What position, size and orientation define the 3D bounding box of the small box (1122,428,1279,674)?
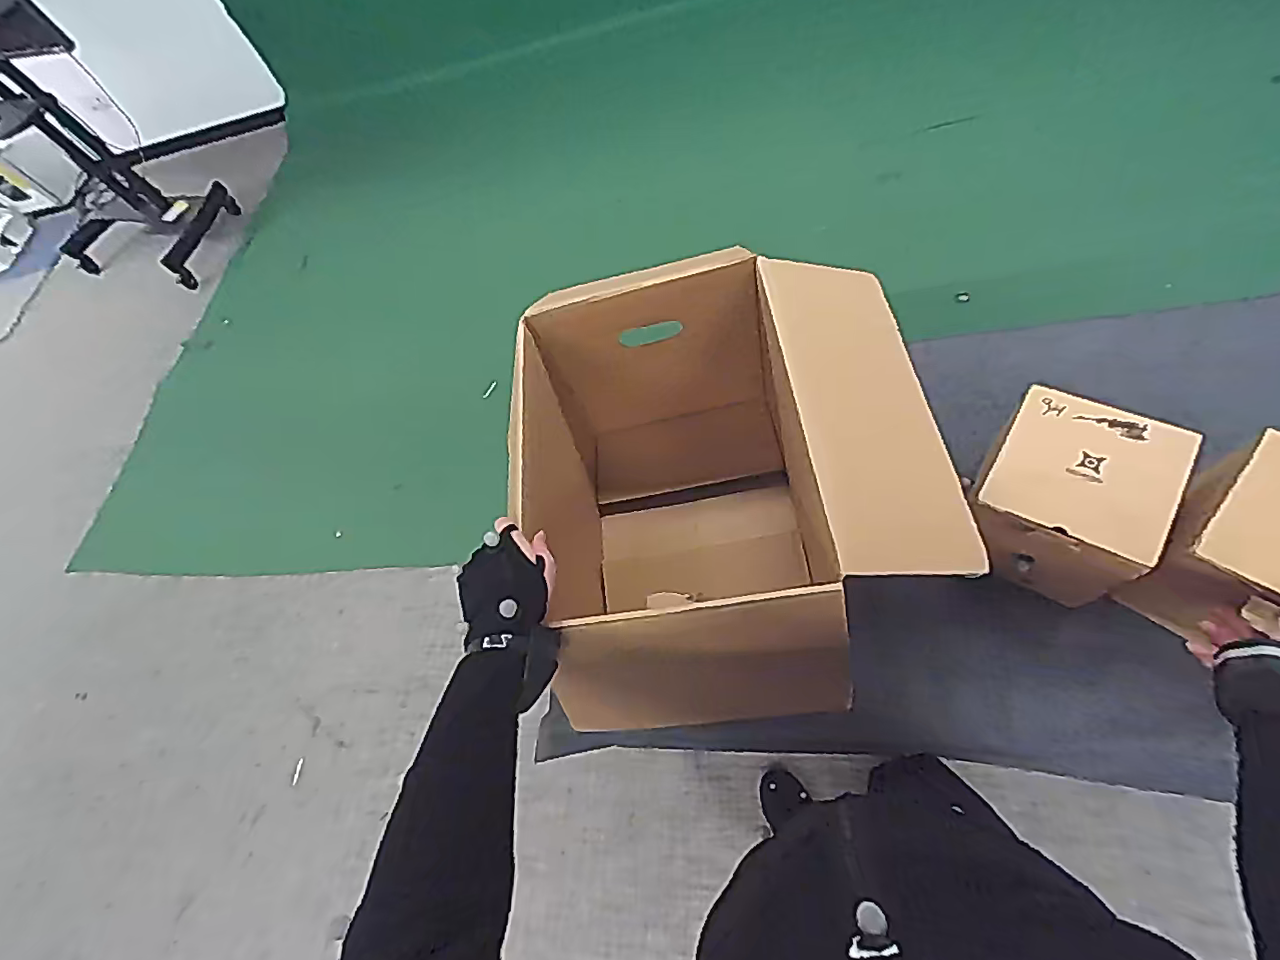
[{"bbox_3d":[0.678,0.084,0.582,0.168,0.176,0.179,35,77,27],"label":"small box"}]
